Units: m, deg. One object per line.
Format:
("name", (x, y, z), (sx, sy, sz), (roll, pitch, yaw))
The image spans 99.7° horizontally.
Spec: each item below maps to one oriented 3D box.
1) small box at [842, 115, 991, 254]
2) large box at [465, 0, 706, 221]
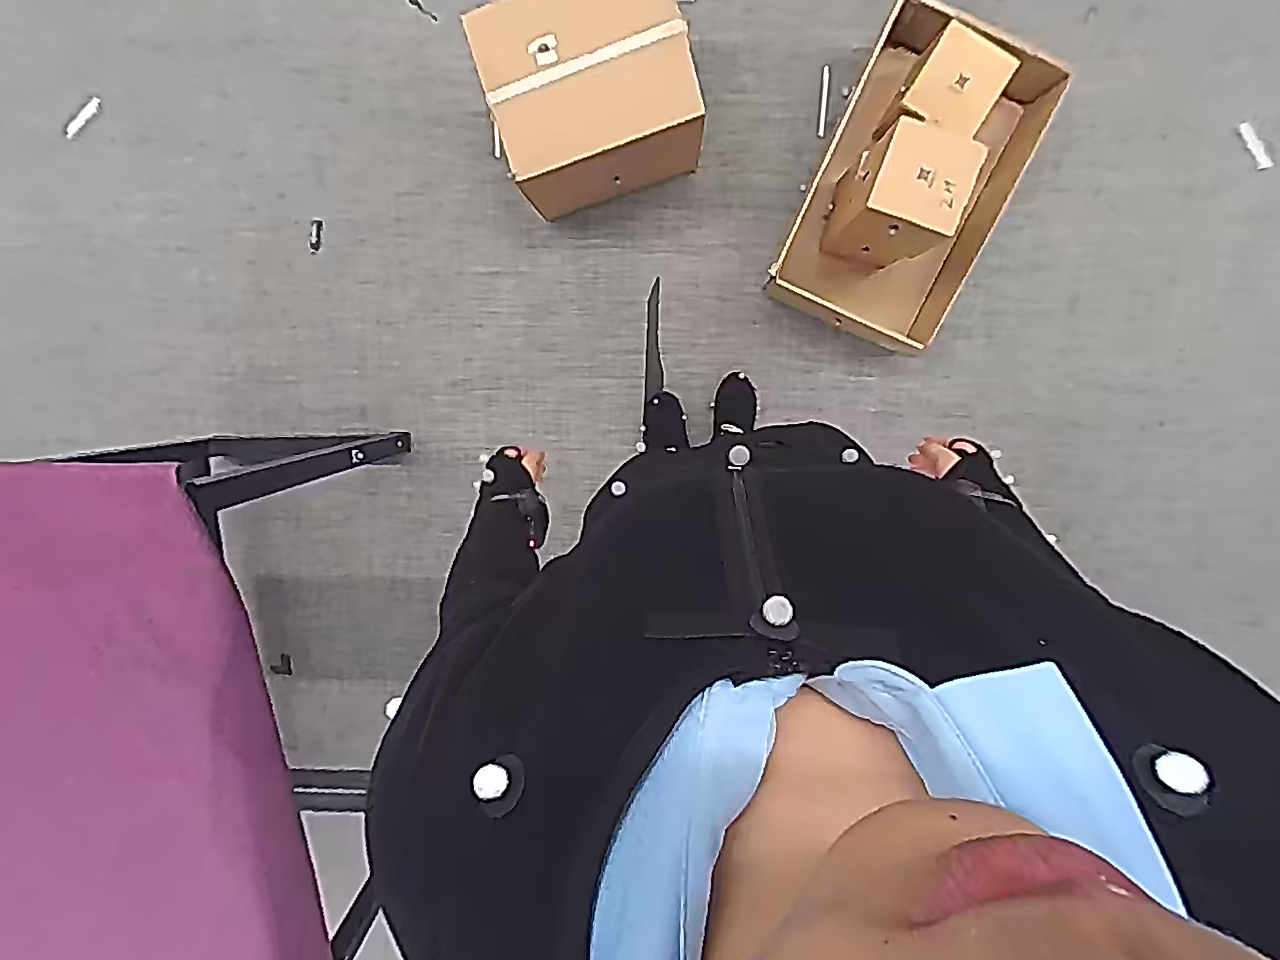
("small box", (0.527, -0.564, 1.059), (0.179, 0.176, 0.168), (19, 100, -2))
("large box", (-0.095, -0.825, 1.188), (0.408, 0.320, 0.320), (-17, 99, 7))
